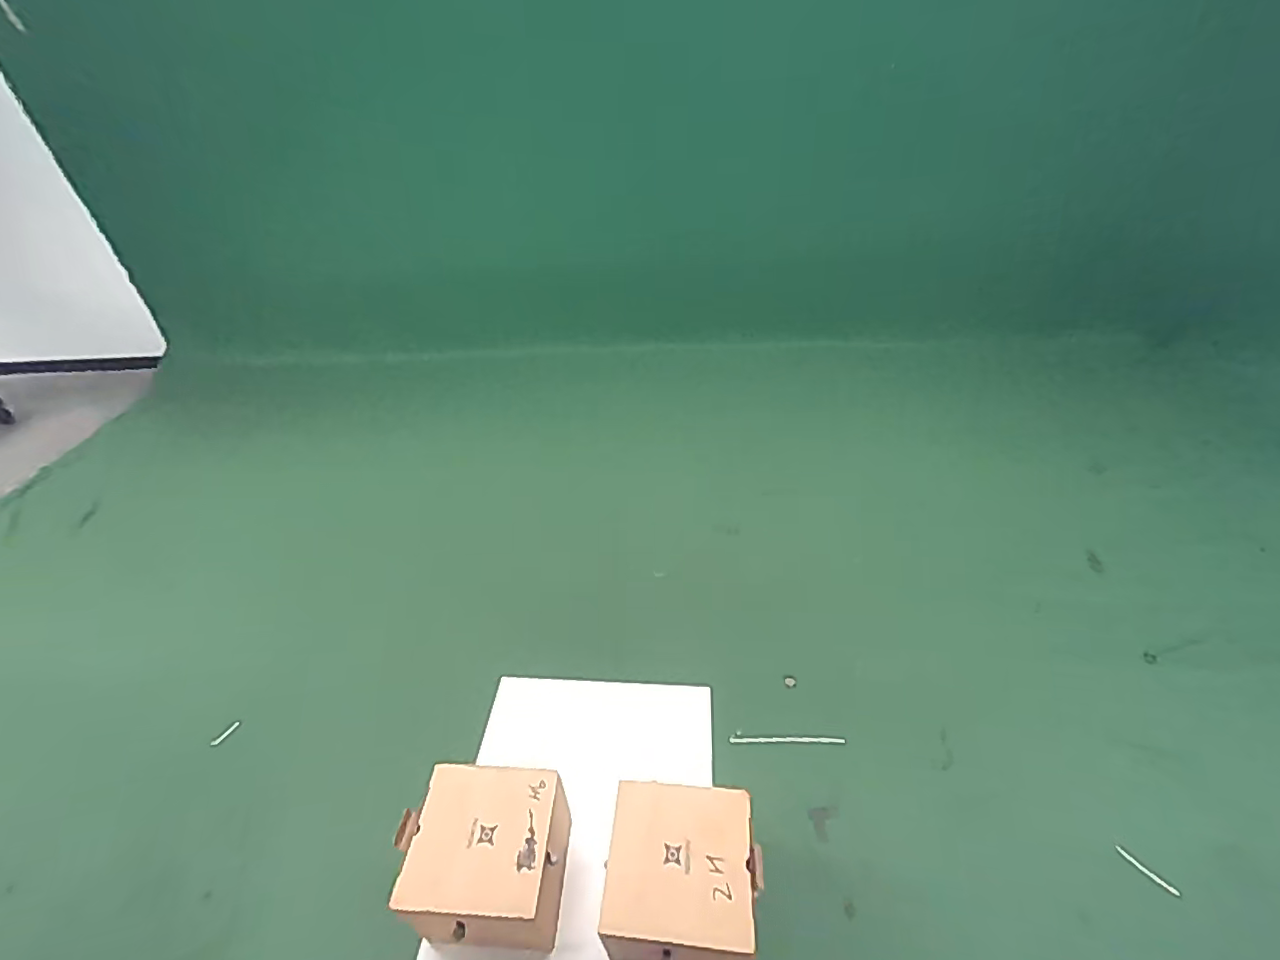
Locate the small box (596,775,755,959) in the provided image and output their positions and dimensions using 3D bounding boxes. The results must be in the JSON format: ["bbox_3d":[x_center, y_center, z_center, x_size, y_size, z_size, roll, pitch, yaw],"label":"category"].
[{"bbox_3d":[0.050,0.505,0.694,0.179,0.176,0.168,2,40,6],"label":"small box"}]
